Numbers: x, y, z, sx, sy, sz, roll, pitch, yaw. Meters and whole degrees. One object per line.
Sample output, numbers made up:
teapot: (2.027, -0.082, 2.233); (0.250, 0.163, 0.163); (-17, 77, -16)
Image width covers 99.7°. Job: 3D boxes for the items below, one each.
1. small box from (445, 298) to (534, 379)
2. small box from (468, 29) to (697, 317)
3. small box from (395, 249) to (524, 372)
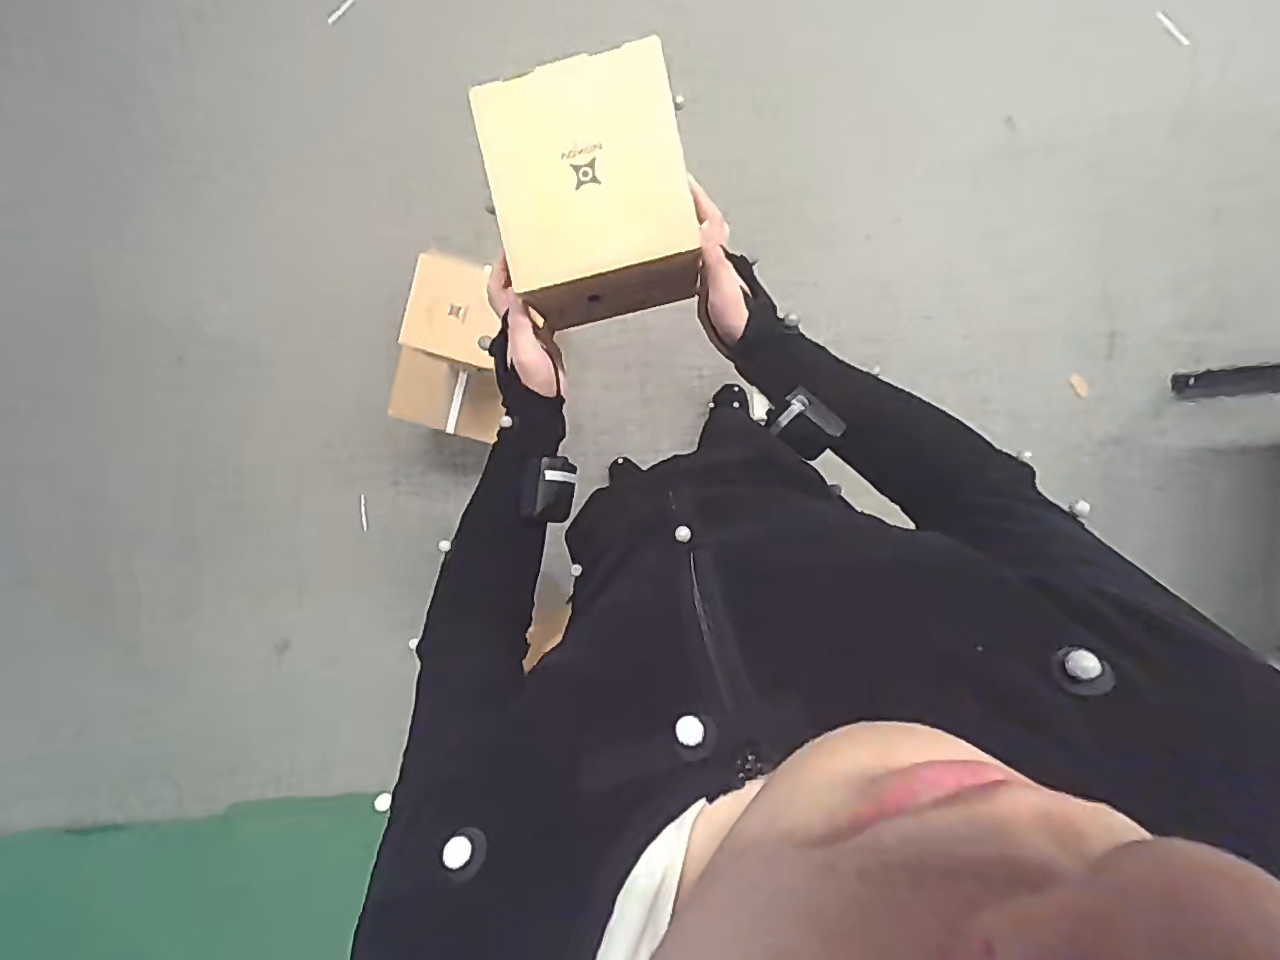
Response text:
small box: (-0.348, -0.329, 1.197); (0.179, 0.176, 0.168); (17, 94, -5)
small box: (-0.040, -0.270, 0.527); (0.168, 0.176, 0.179); (-12, 93, 5)
small box: (-0.333, -0.312, 1.036); (0.179, 0.176, 0.168); (15, 93, -4)
